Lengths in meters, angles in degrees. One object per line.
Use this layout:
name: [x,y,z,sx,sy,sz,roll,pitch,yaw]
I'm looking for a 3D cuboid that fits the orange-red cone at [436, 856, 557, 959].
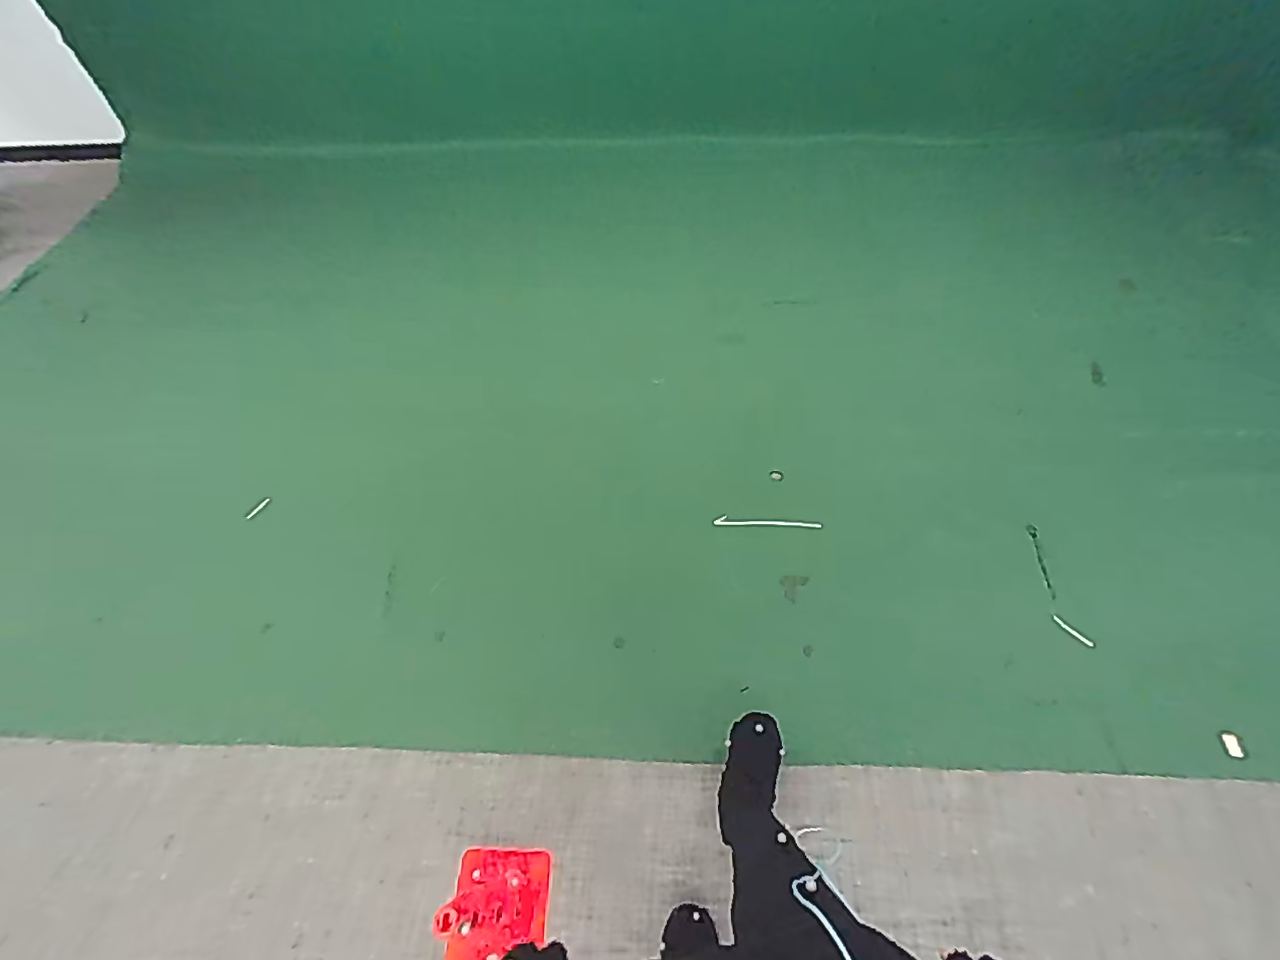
orange-red cone: [-0.289,0.814,0.990,0.198,0.360,0.199,0,56,4]
